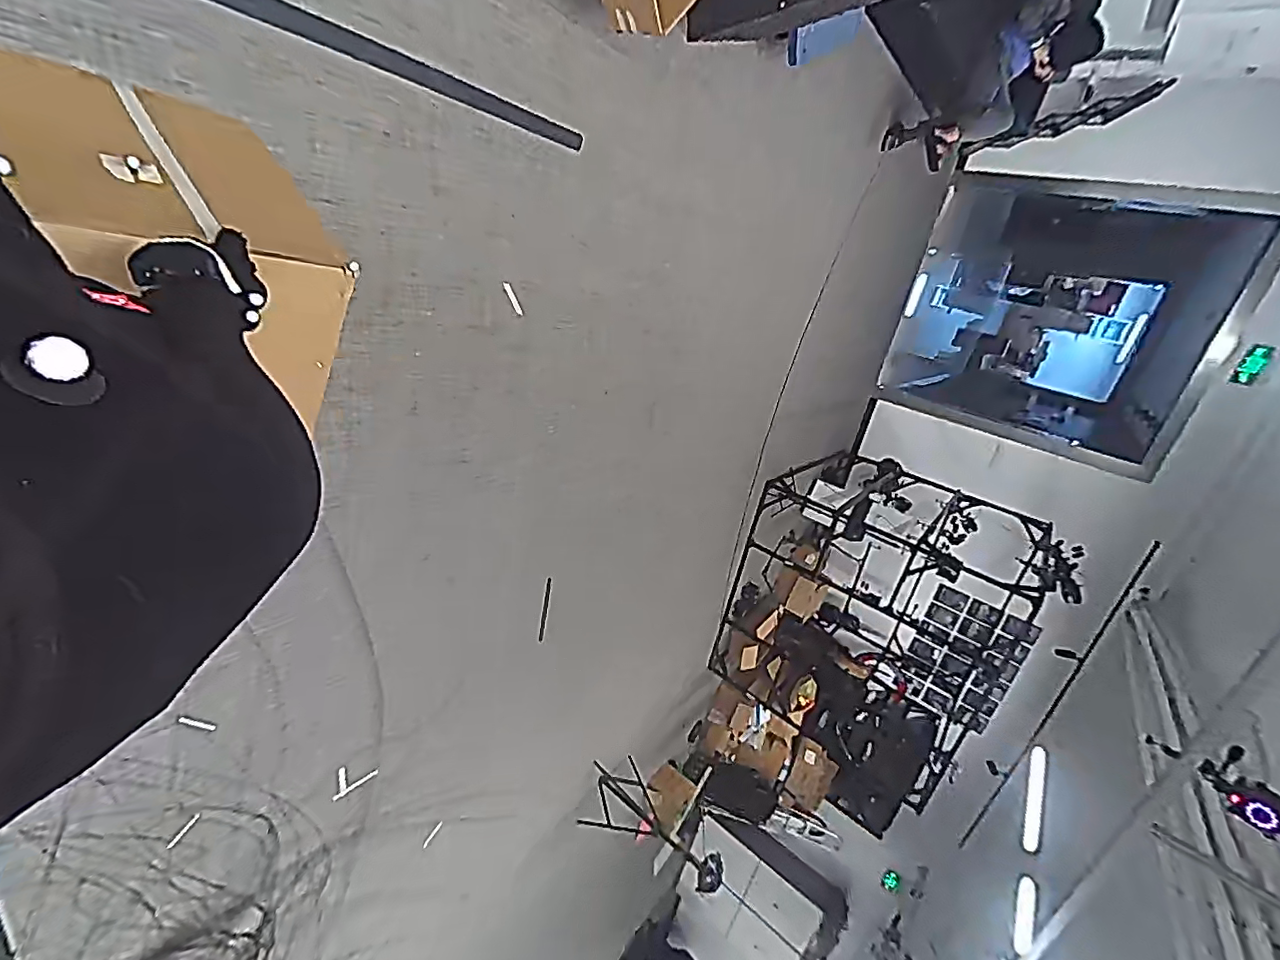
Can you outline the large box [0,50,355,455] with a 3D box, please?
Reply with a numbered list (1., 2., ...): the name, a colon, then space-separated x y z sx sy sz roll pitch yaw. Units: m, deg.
1. large box: -0.680 -0.295 0.762 0.320 0.408 0.320 -15 150 -51
